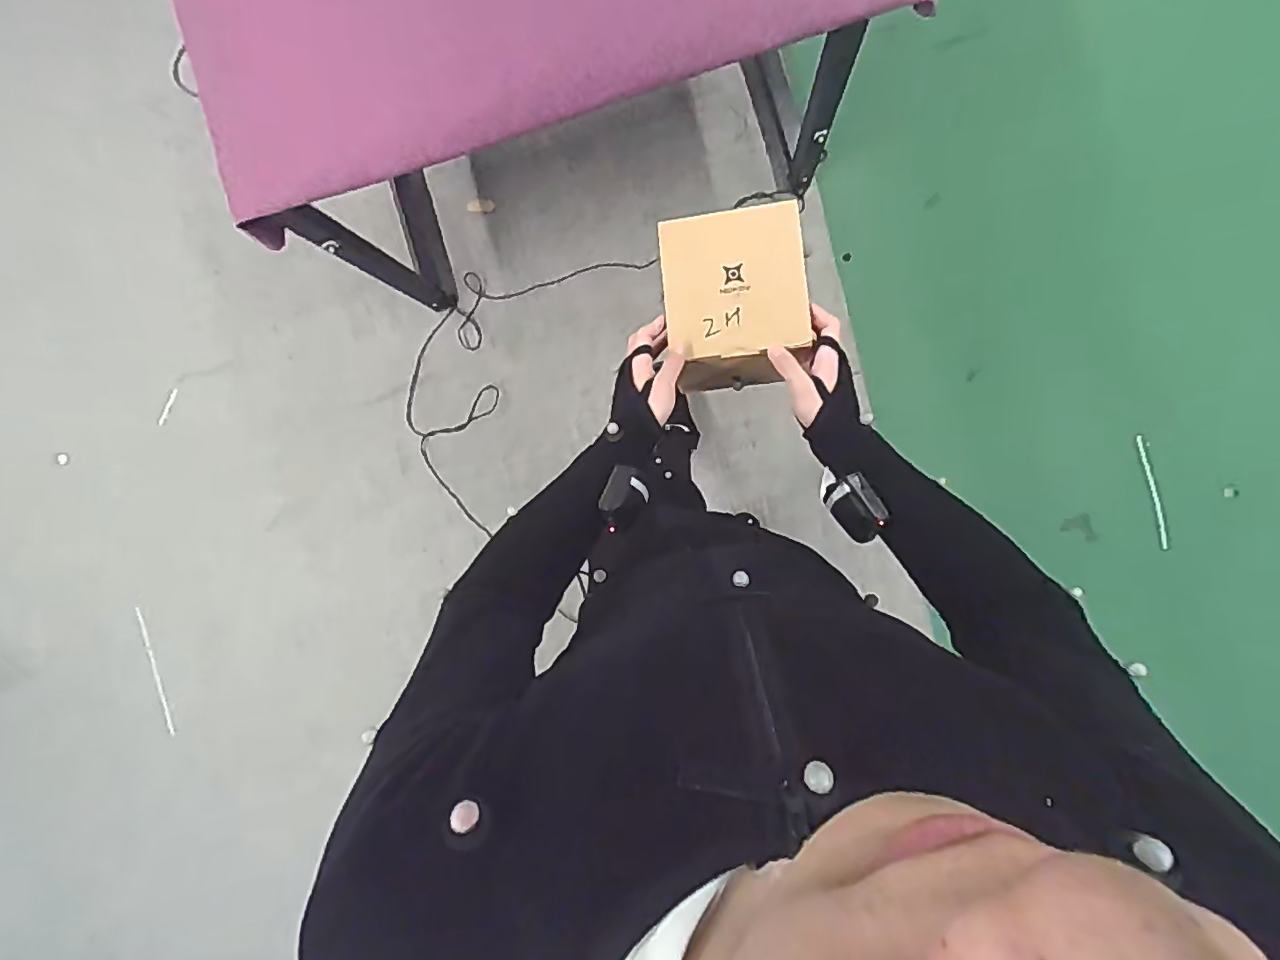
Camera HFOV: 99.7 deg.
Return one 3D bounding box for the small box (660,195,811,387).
[{"bbox_3d":[0.120,-0.233,0.707,0.168,0.176,0.179,-5,87,9],"label":"small box"}]
